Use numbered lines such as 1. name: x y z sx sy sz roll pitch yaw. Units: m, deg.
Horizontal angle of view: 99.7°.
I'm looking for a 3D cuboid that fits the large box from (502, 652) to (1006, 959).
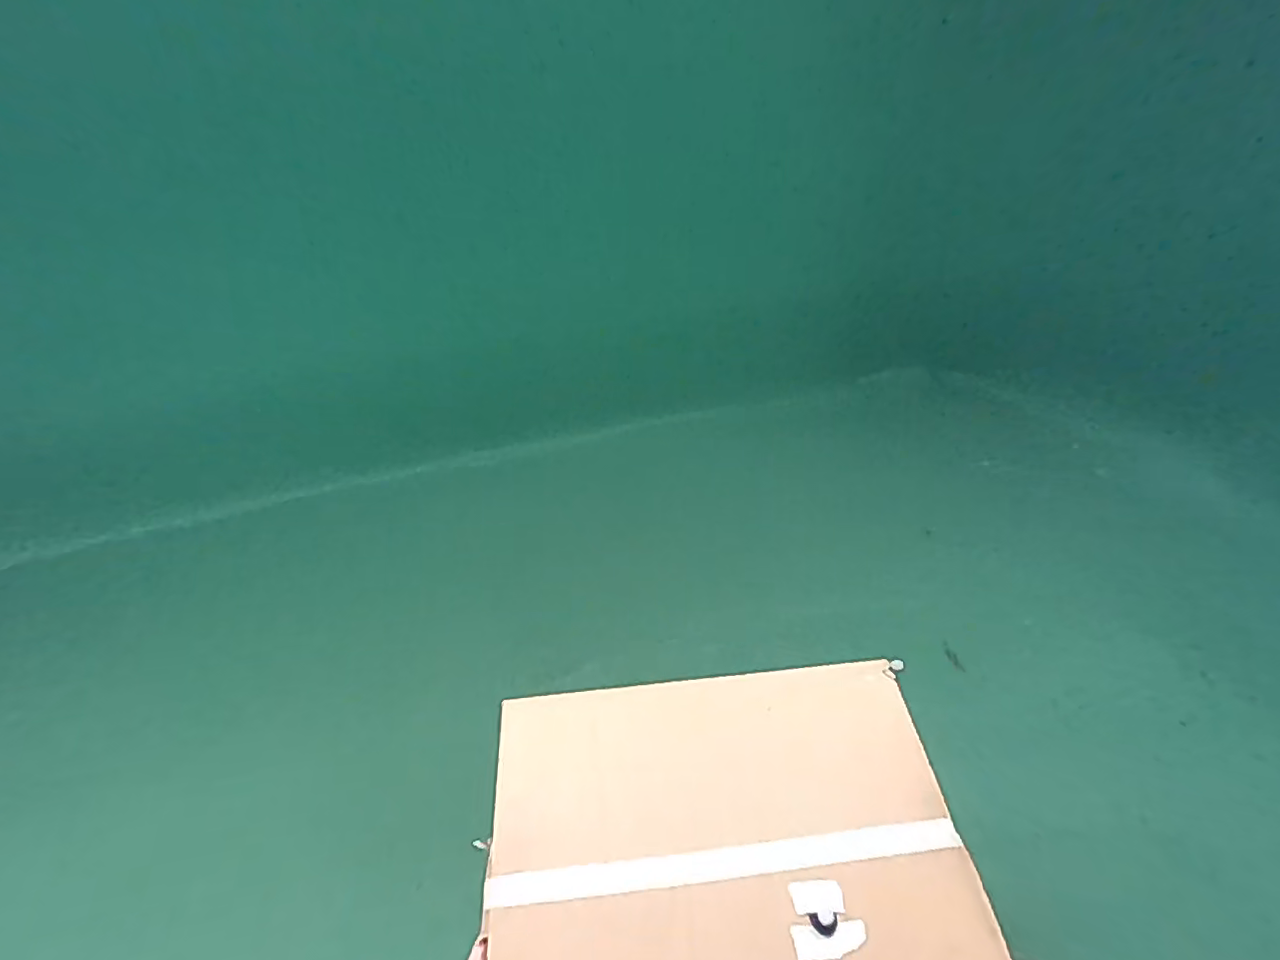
1. large box: 0.082 0.417 0.590 0.408 0.320 0.320 -5 51 -2
